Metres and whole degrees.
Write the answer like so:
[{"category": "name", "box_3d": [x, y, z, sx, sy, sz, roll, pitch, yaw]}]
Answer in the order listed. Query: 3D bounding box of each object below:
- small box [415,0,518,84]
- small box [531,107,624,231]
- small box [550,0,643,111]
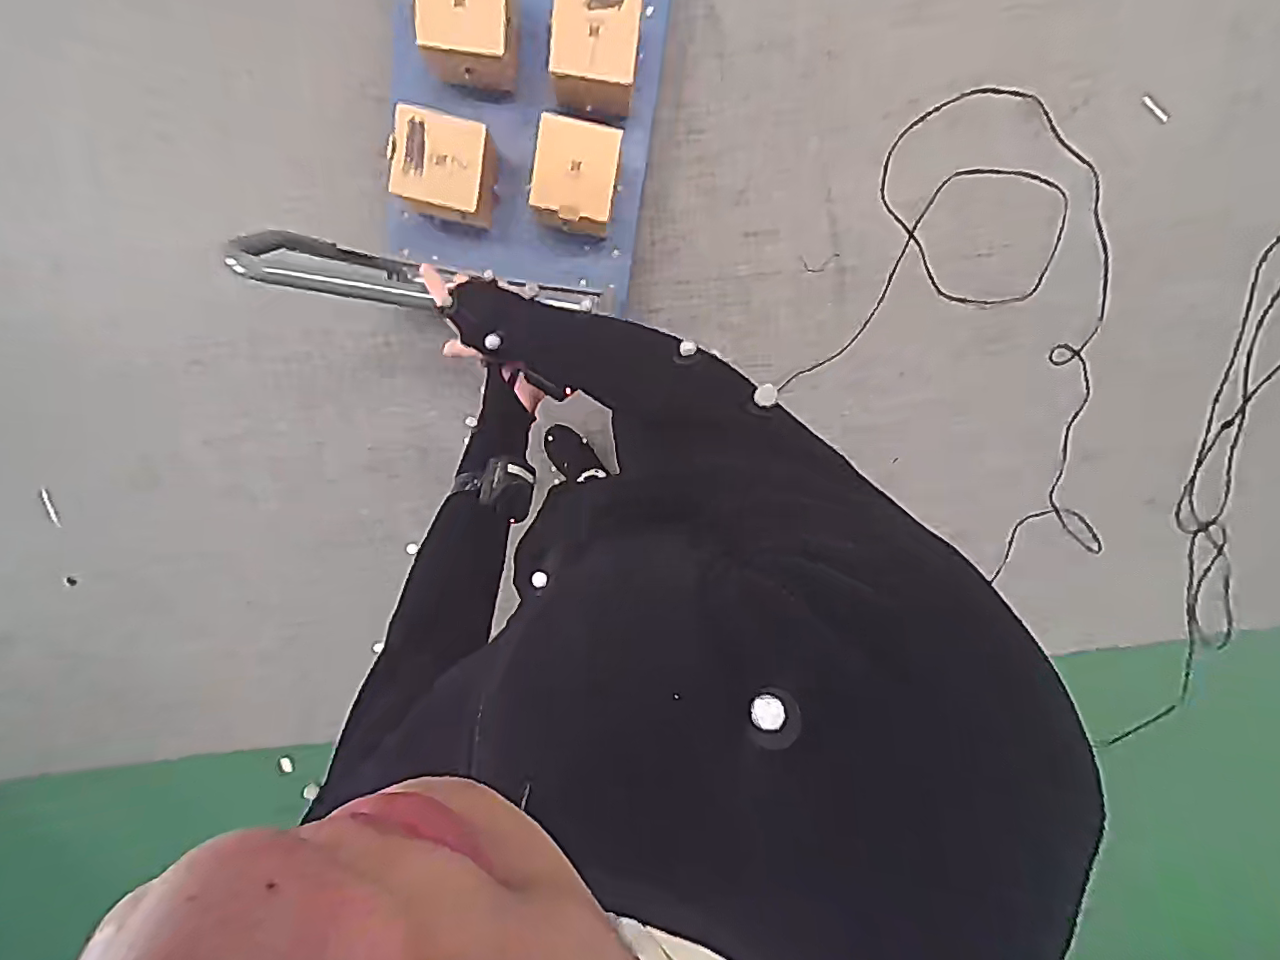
[{"category": "small box", "box_3d": [-0.338, -0.928, 1.077, 0.168, 0.176, 0.179, 4, 105, -6]}, {"category": "small box", "box_3d": [-0.133, -0.658, 1.166, 0.168, 0.176, 0.179, 10, 105, -6]}, {"category": "small box", "box_3d": [-0.087, -0.894, 1.103, 0.168, 0.176, 0.179, 6, 105, -5]}]
